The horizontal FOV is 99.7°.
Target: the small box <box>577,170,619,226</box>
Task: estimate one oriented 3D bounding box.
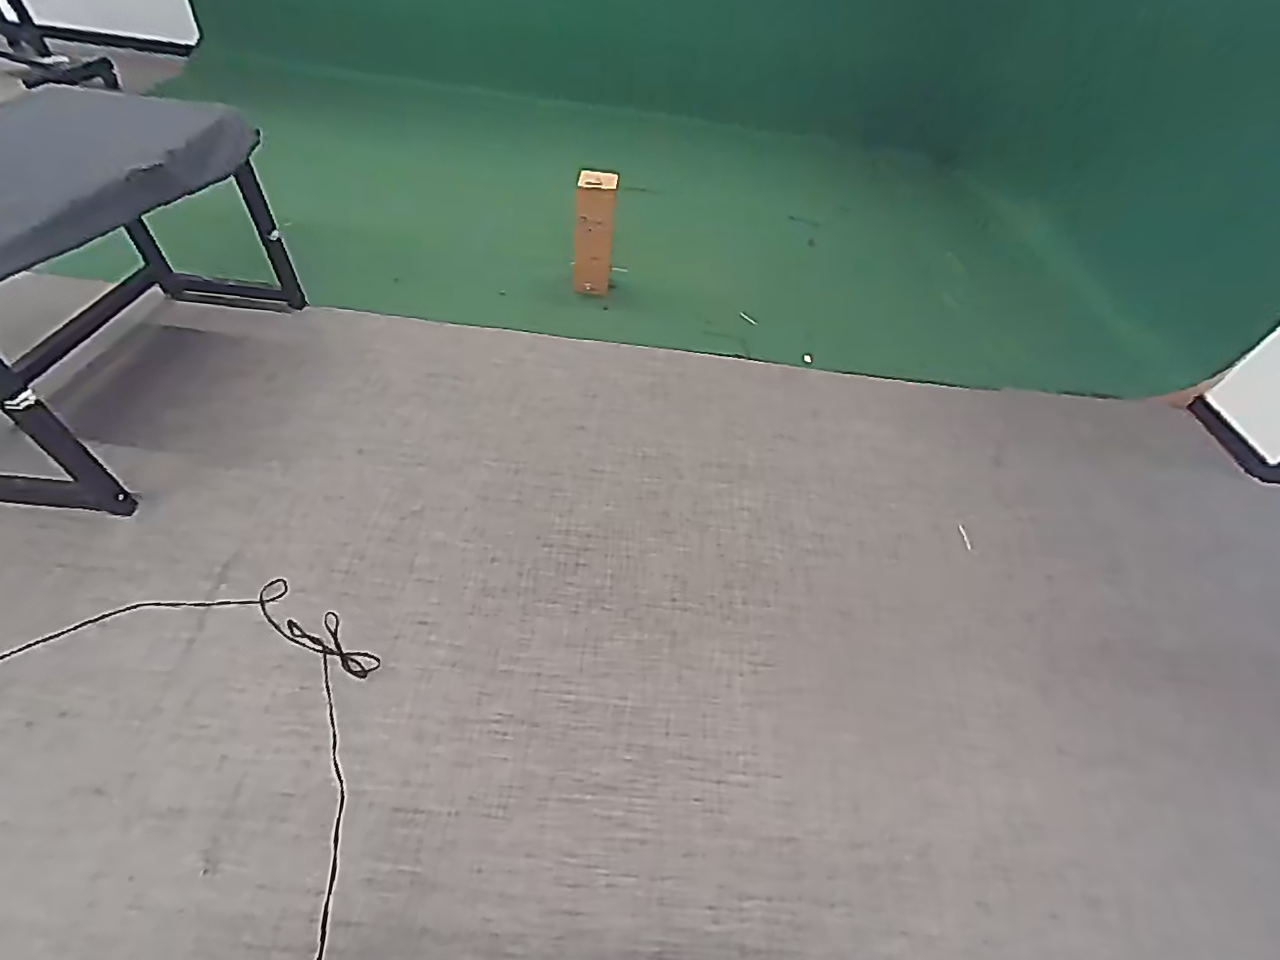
[{"bbox_3d":[-0.187,-1.253,2.408,0.168,0.176,0.179,6,48,-2],"label":"small box"}]

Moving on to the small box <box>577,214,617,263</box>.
[{"bbox_3d":[-0.204,-1.145,2.530,0.168,0.176,0.179,7,48,-1],"label":"small box"}]

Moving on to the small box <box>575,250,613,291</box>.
[{"bbox_3d":[-0.223,-1.049,2.638,0.168,0.176,0.179,7,49,0],"label":"small box"}]
